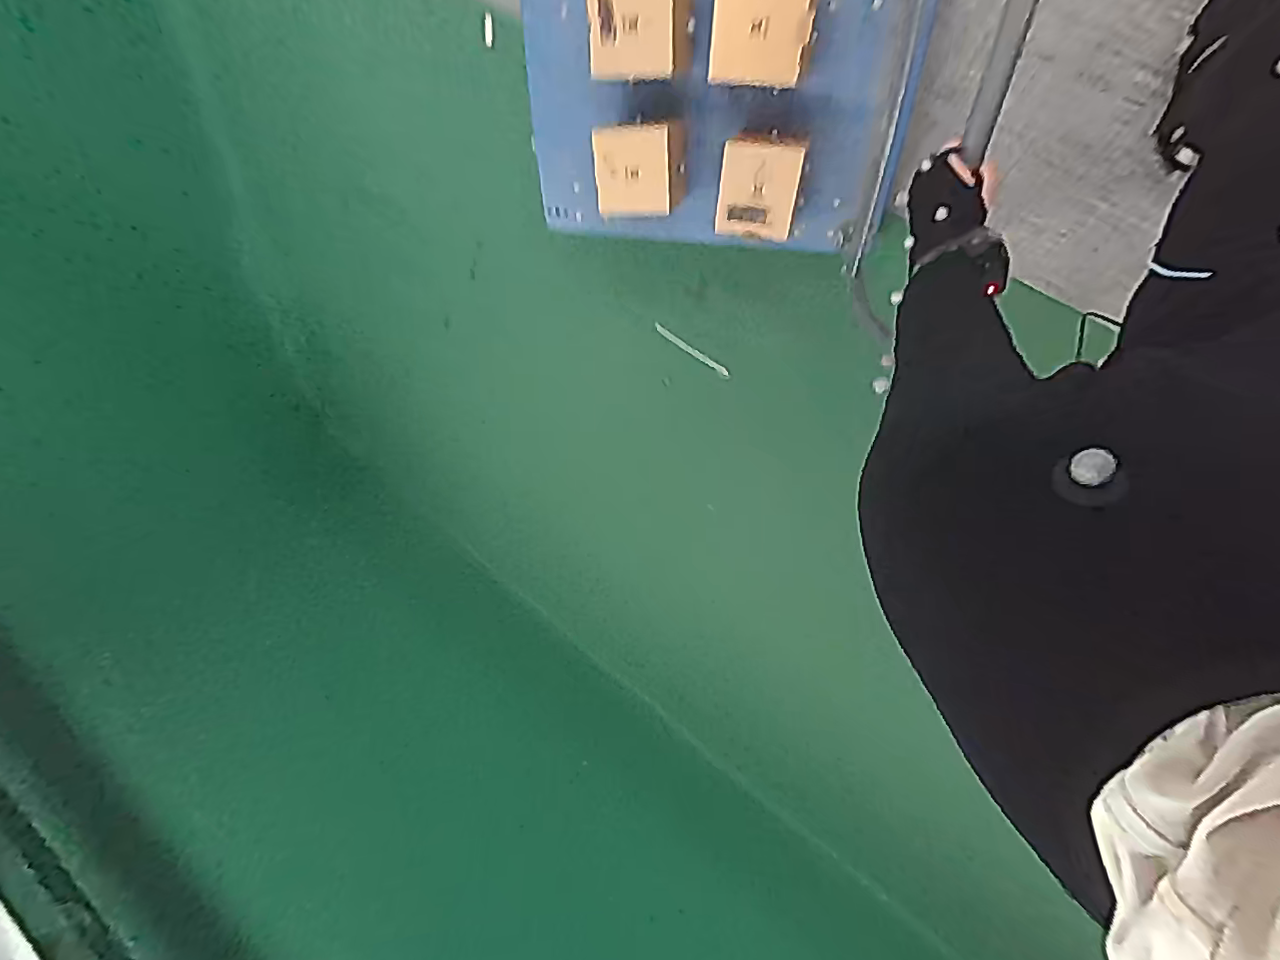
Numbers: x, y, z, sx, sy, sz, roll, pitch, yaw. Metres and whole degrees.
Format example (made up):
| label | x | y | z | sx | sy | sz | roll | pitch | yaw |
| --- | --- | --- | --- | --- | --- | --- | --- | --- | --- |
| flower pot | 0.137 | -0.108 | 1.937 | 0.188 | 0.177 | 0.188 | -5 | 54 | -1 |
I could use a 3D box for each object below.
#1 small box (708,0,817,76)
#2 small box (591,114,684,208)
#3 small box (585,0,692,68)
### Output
| label | x | y | z | sx | sy | sz | roll | pitch | yaw |
| --- | --- | --- | --- | --- | --- | --- | --- | --- | --- |
| small box | 0.240 | -0.888 | 1.041 | 0.179 | 0.176 | 0.168 | 12 | 131 | 12 |
| small box | 0.004 | -0.741 | 1.254 | 0.179 | 0.176 | 0.168 | 8 | 129 | 16 |
| small box | 0.002 | -0.939 | 1.093 | 0.179 | 0.176 | 0.168 | 9 | 131 | 14 |
